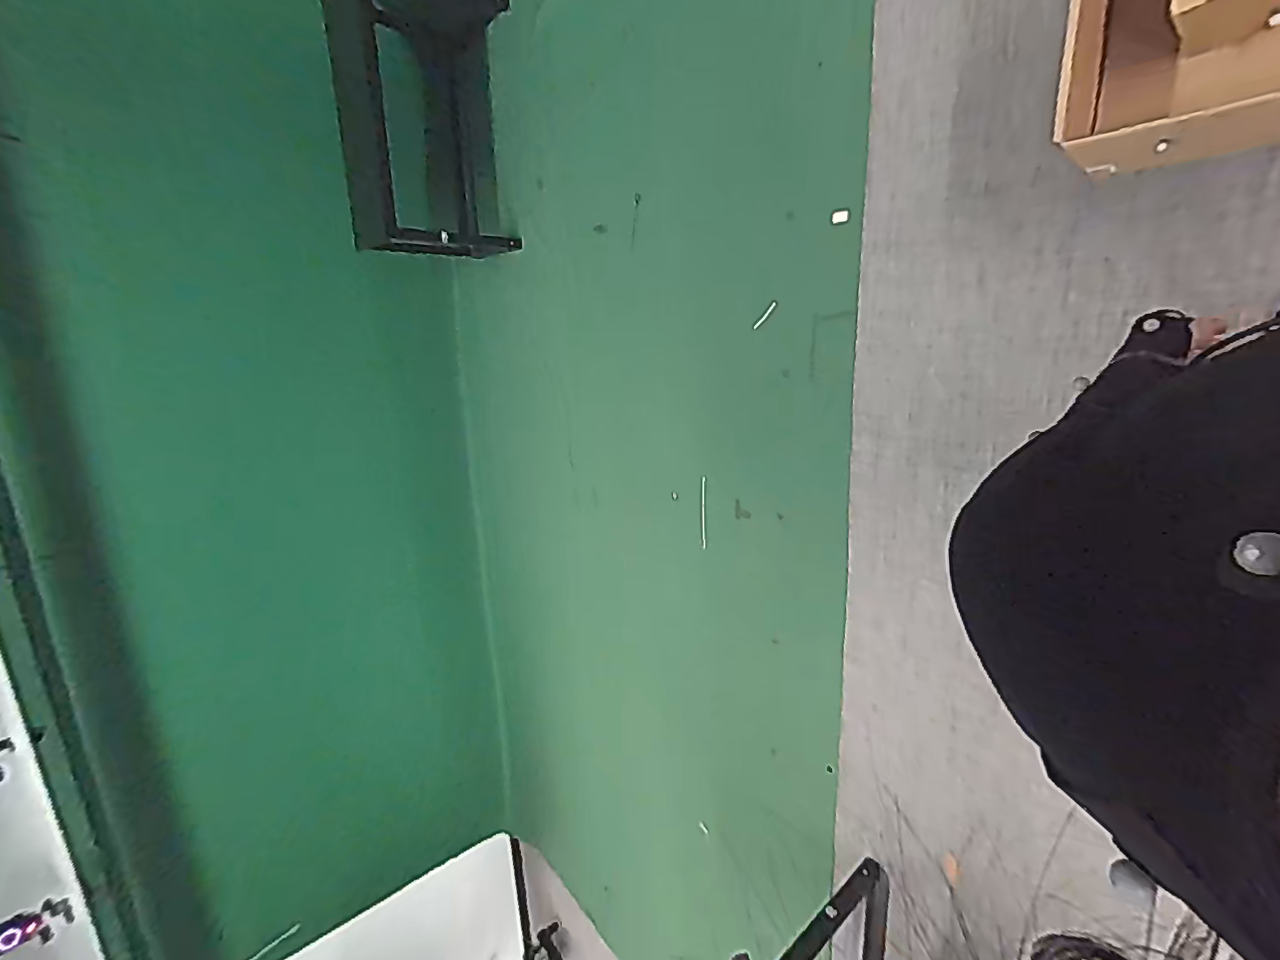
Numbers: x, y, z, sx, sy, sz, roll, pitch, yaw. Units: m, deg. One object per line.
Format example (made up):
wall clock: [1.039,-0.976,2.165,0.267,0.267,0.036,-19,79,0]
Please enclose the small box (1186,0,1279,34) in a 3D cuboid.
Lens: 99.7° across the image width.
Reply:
small box: [0.732,-0.656,0.602,0.168,0.176,0.179,9,108,51]
